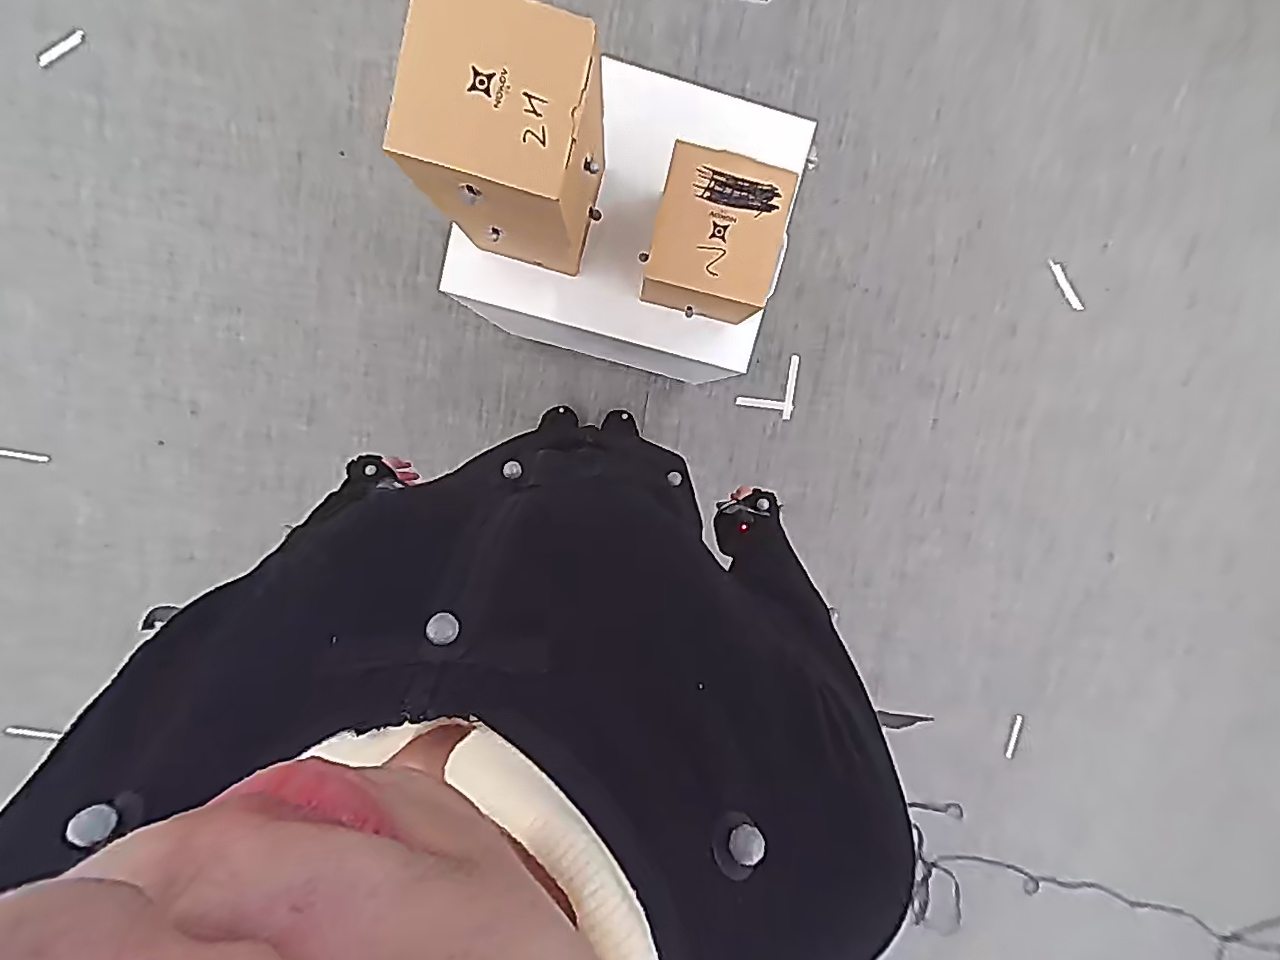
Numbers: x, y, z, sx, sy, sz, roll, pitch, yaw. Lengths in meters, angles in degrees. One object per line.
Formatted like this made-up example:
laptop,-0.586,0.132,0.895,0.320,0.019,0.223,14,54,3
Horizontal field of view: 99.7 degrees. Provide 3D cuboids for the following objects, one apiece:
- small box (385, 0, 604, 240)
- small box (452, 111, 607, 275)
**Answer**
small box,-0.143,-0.384,0.591,0.179,0.176,0.168,15,98,-5
small box,-0.148,-0.411,0.753,0.168,0.176,0.179,15,96,-4
